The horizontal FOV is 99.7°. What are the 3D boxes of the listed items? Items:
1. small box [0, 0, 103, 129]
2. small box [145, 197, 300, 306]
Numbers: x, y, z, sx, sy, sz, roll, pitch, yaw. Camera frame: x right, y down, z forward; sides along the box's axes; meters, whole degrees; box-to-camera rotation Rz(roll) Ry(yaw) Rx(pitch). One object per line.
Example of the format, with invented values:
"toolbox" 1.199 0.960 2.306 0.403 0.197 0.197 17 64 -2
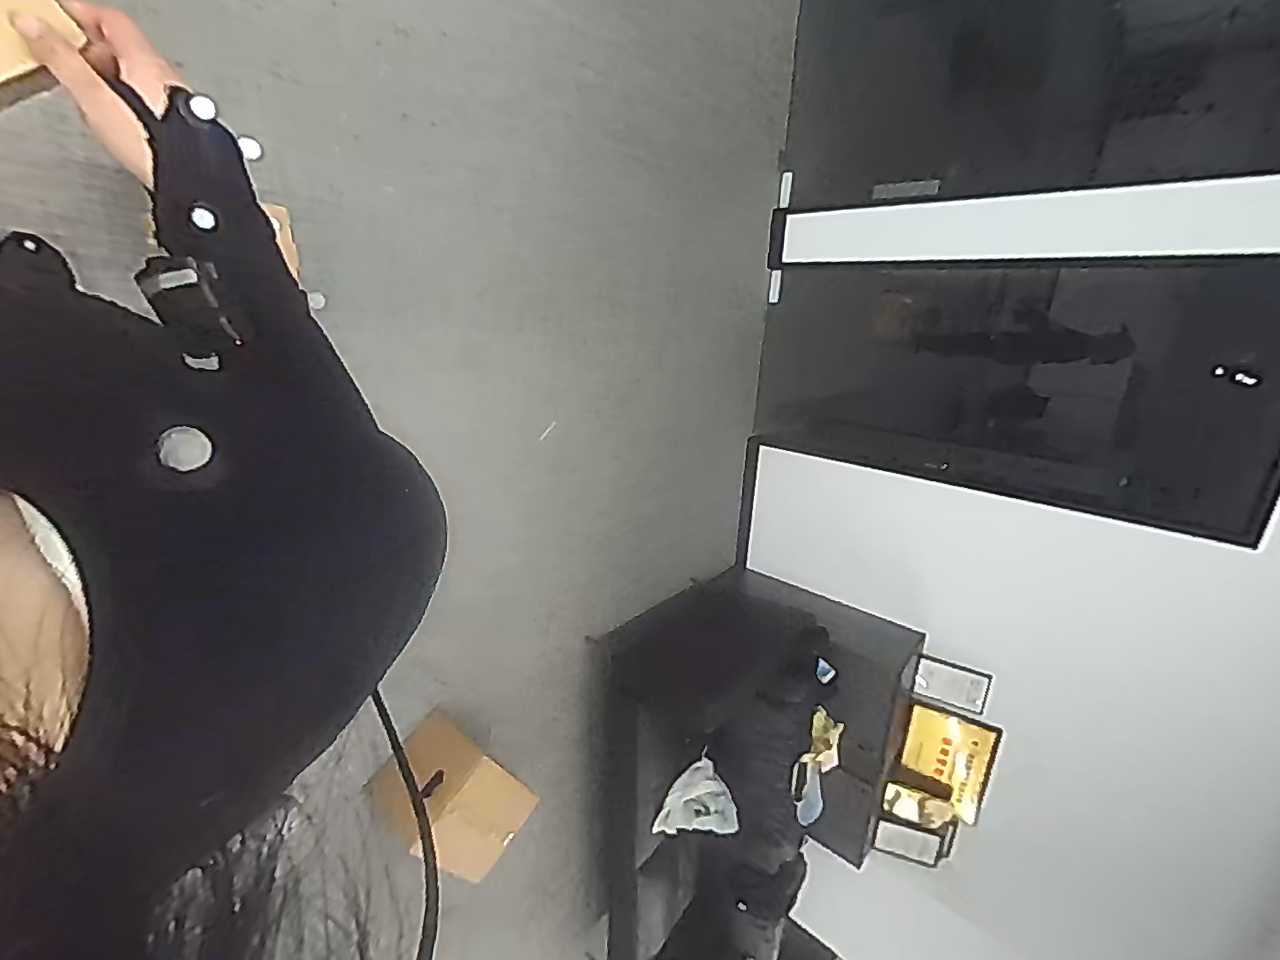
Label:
"small box" -0.498 -0.298 0.324 0.179 0.176 0.168 -50 140 -22
"small box" -0.759 -0.408 0.988 0.179 0.176 0.168 -18 116 -46
